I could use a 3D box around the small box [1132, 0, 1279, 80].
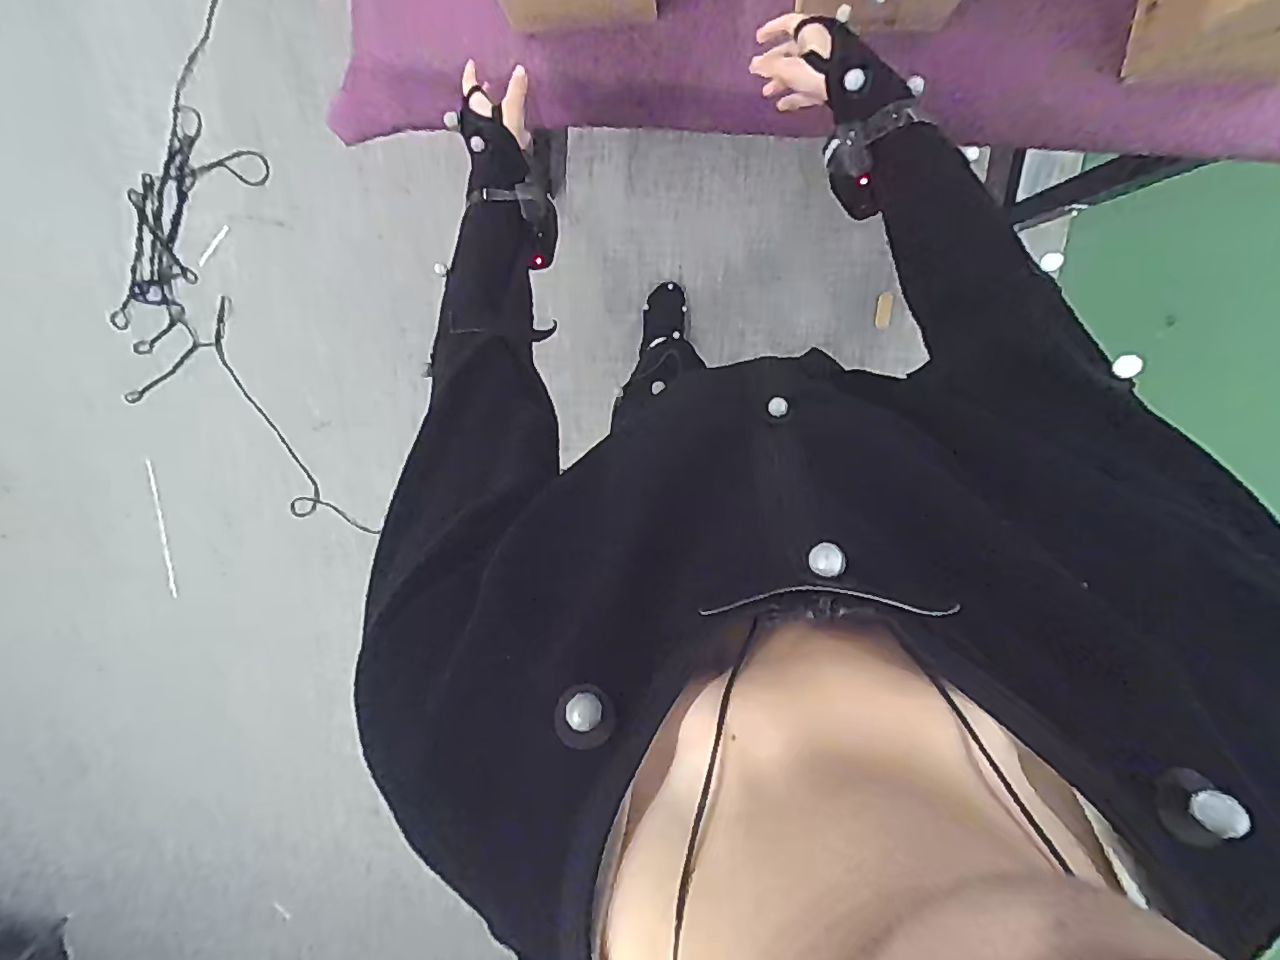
[{"bbox_3d":[0.633,-0.506,0.507,0.179,0.176,0.168,4,105,8],"label":"small box"}]

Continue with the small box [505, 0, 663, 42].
[{"bbox_3d":[-0.070,-0.604,0.573,0.179,0.176,0.168,-1,103,6],"label":"small box"}]

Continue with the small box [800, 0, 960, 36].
[{"bbox_3d":[0.261,-0.582,0.535,0.168,0.176,0.179,5,103,5],"label":"small box"}]
